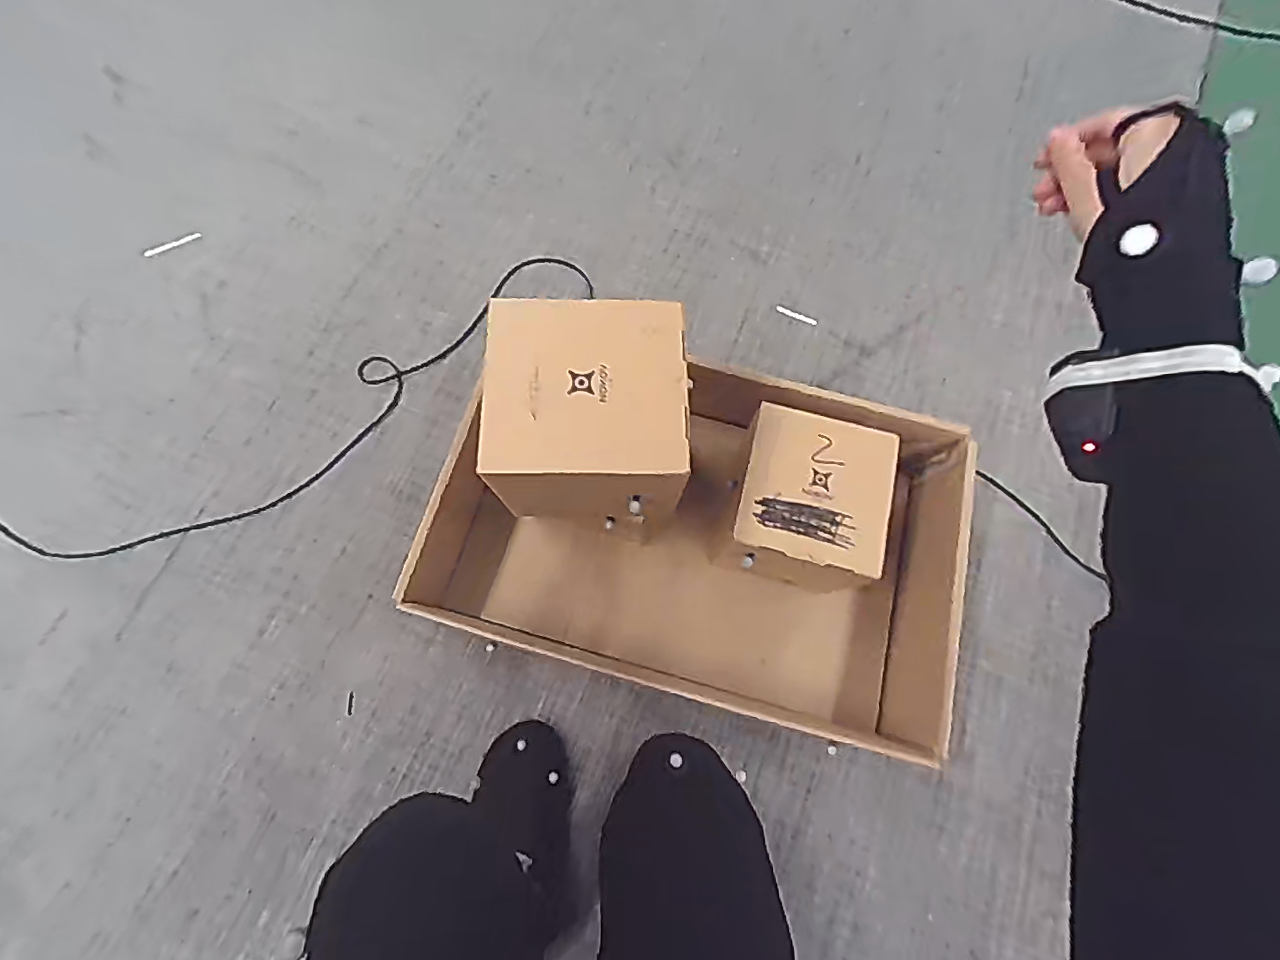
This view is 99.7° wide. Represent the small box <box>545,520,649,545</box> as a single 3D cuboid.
[{"bbox_3d":[-0.059,-0.024,0.702,0.179,0.176,0.168,16,74,3],"label":"small box"}]

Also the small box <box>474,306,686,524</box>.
[{"bbox_3d":[-0.052,-0.053,0.542,0.179,0.176,0.168,0,74,-1],"label":"small box"}]
